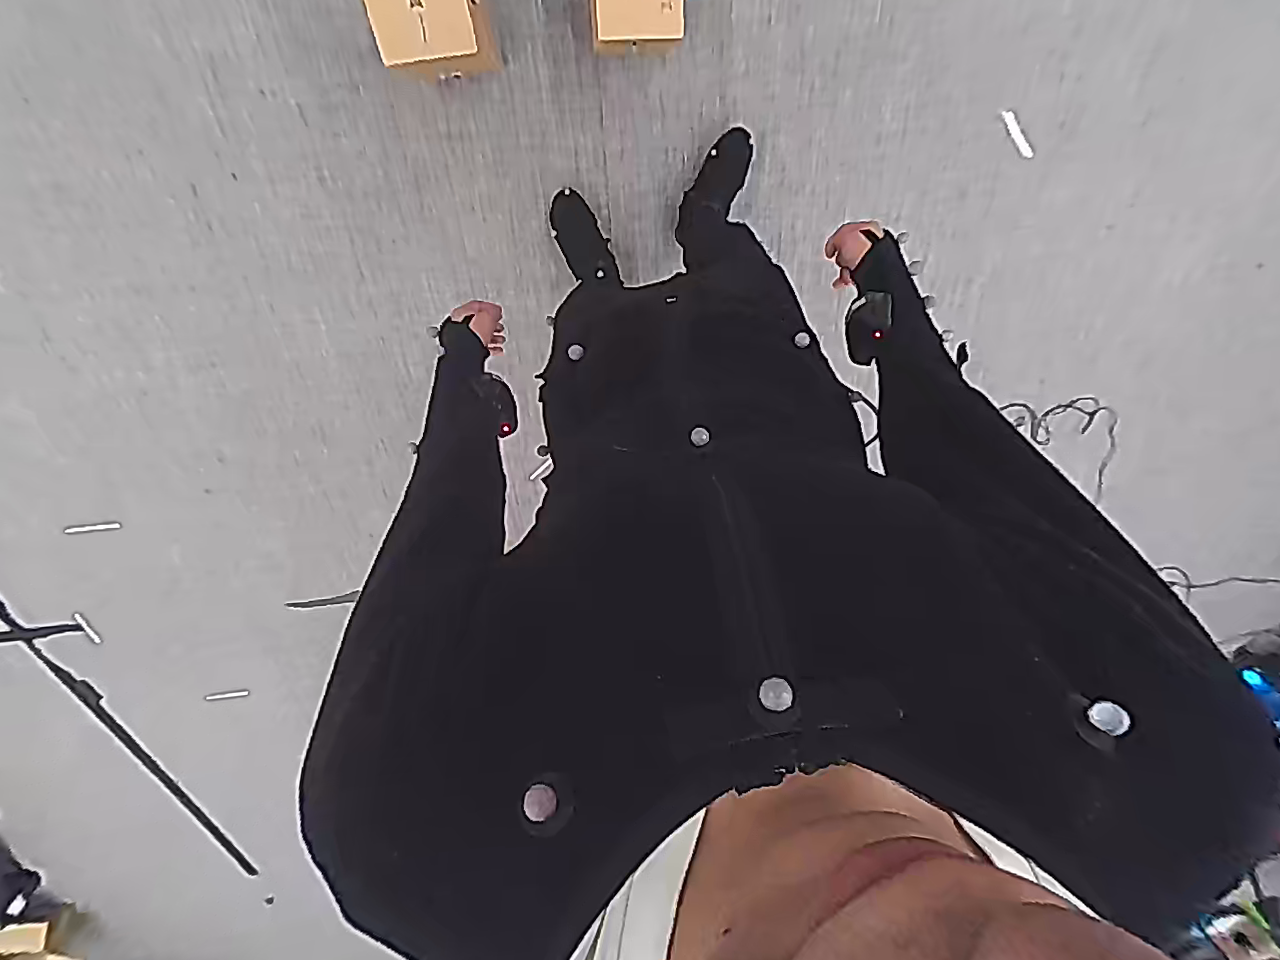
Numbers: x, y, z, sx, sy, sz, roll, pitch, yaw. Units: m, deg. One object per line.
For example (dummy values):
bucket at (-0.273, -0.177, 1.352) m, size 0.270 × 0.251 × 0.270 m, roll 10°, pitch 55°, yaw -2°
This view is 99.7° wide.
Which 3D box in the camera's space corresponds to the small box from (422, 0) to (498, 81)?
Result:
small box at (-0.392, -0.924, 1.080) m, size 0.168 × 0.176 × 0.179 m, roll -11°, pitch 123°, yaw -2°

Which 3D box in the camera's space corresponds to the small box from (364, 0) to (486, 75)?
small box at (-0.378, -0.833, 0.944) m, size 0.168 × 0.176 × 0.179 m, roll -9°, pitch 123°, yaw -2°

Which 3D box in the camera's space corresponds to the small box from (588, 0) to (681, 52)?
small box at (-0.017, -0.986, 1.100) m, size 0.179 × 0.176 × 0.168 m, roll -6°, pitch 123°, yaw -6°
